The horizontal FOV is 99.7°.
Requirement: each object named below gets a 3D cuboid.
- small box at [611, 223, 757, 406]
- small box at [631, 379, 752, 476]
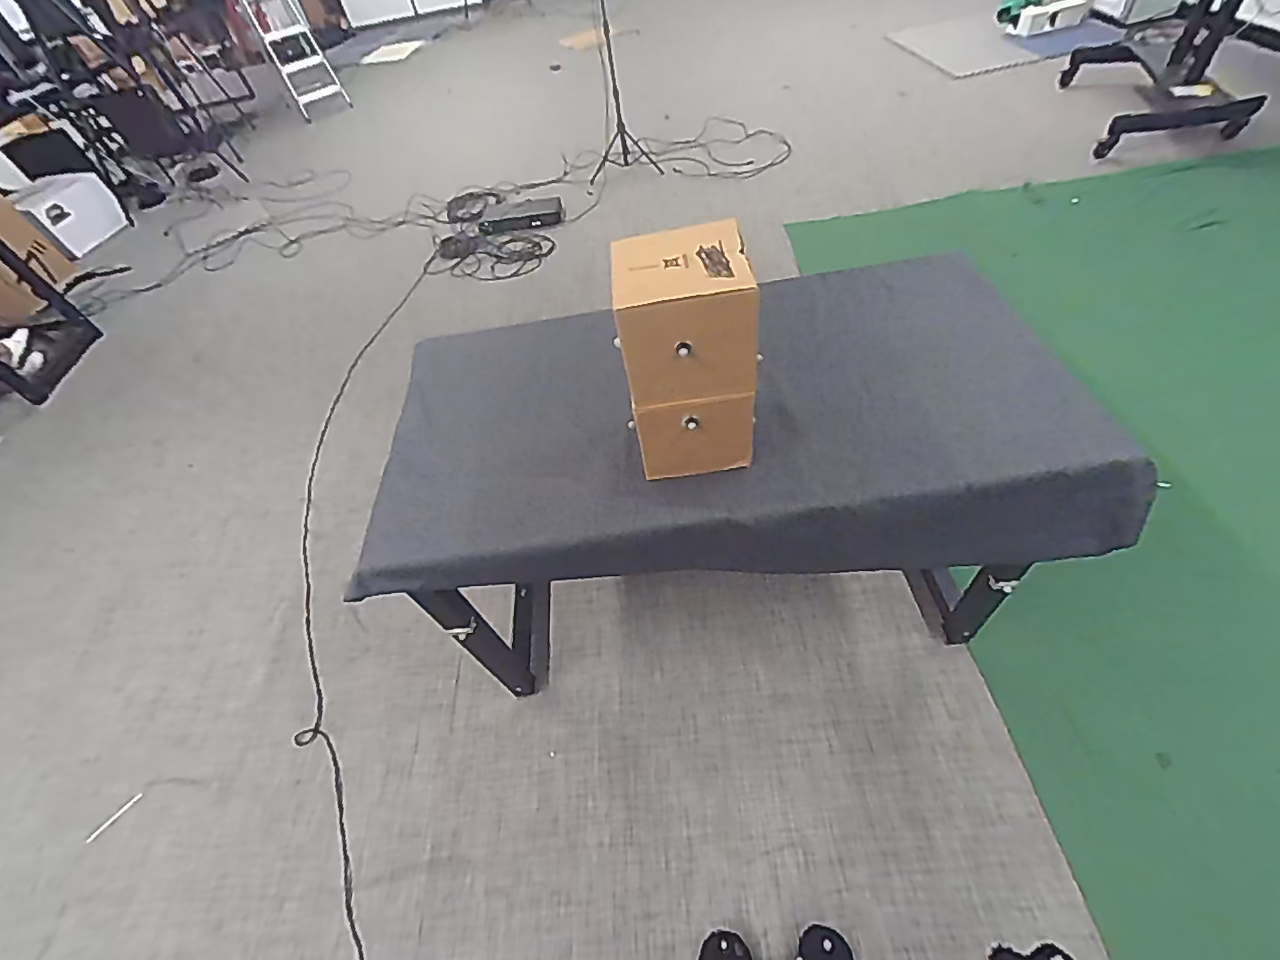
[{"bbox_3d":[0.060,-0.224,0.753,0.179,0.176,0.168,-8,52,6],"label":"small box"},{"bbox_3d":[0.080,-0.122,0.881,0.179,0.176,0.168,-7,52,3],"label":"small box"}]
